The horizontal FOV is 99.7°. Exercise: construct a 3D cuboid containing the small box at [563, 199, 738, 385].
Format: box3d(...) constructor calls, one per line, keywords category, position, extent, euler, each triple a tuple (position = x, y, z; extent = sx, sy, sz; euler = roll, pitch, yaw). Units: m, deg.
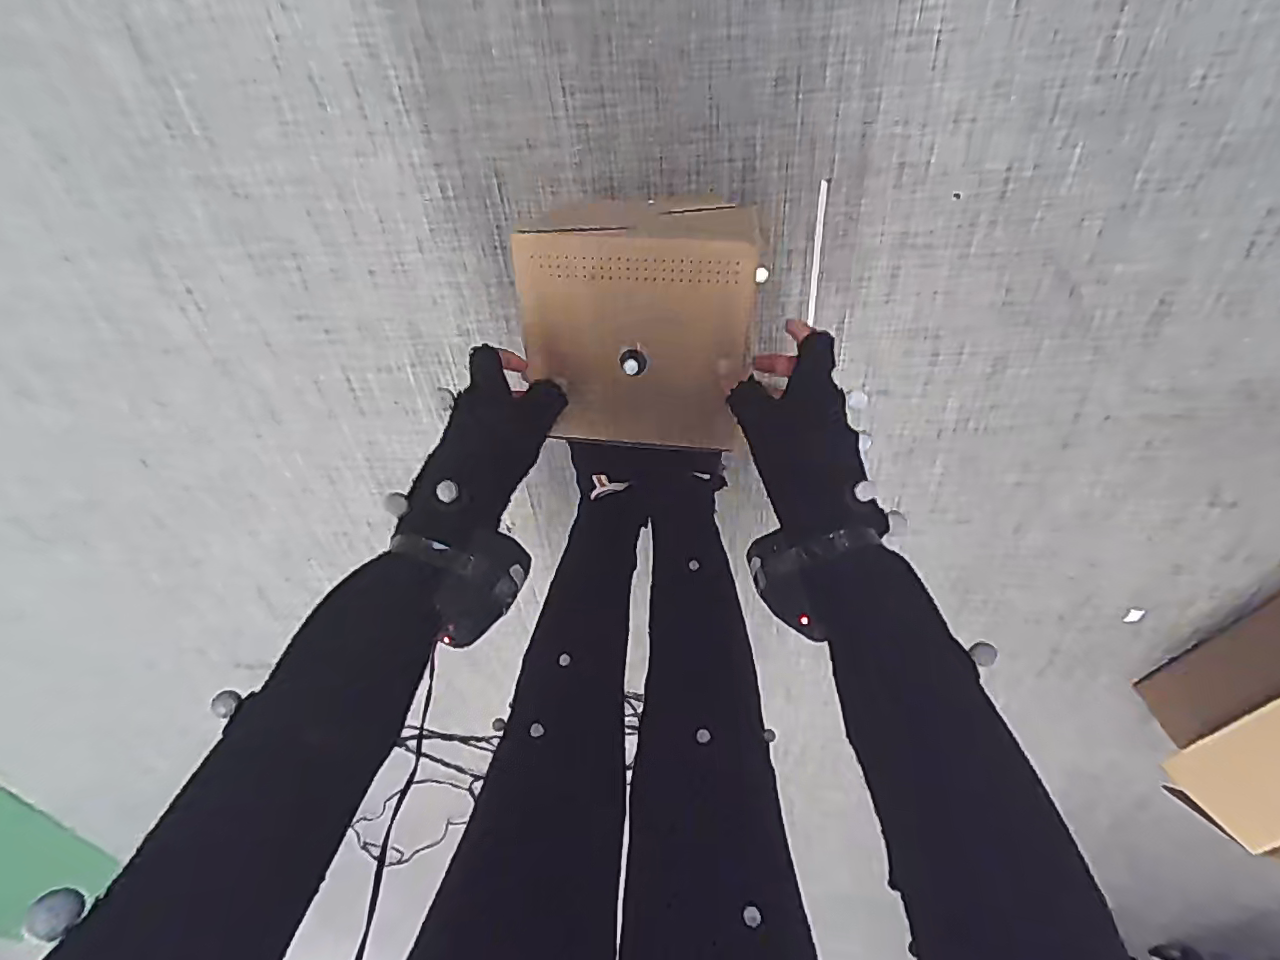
box3d(category="small box", position=(0.019, -0.225, 0.638), extent=(0.179, 0.176, 0.168), euler=(-2, 124, 6))
